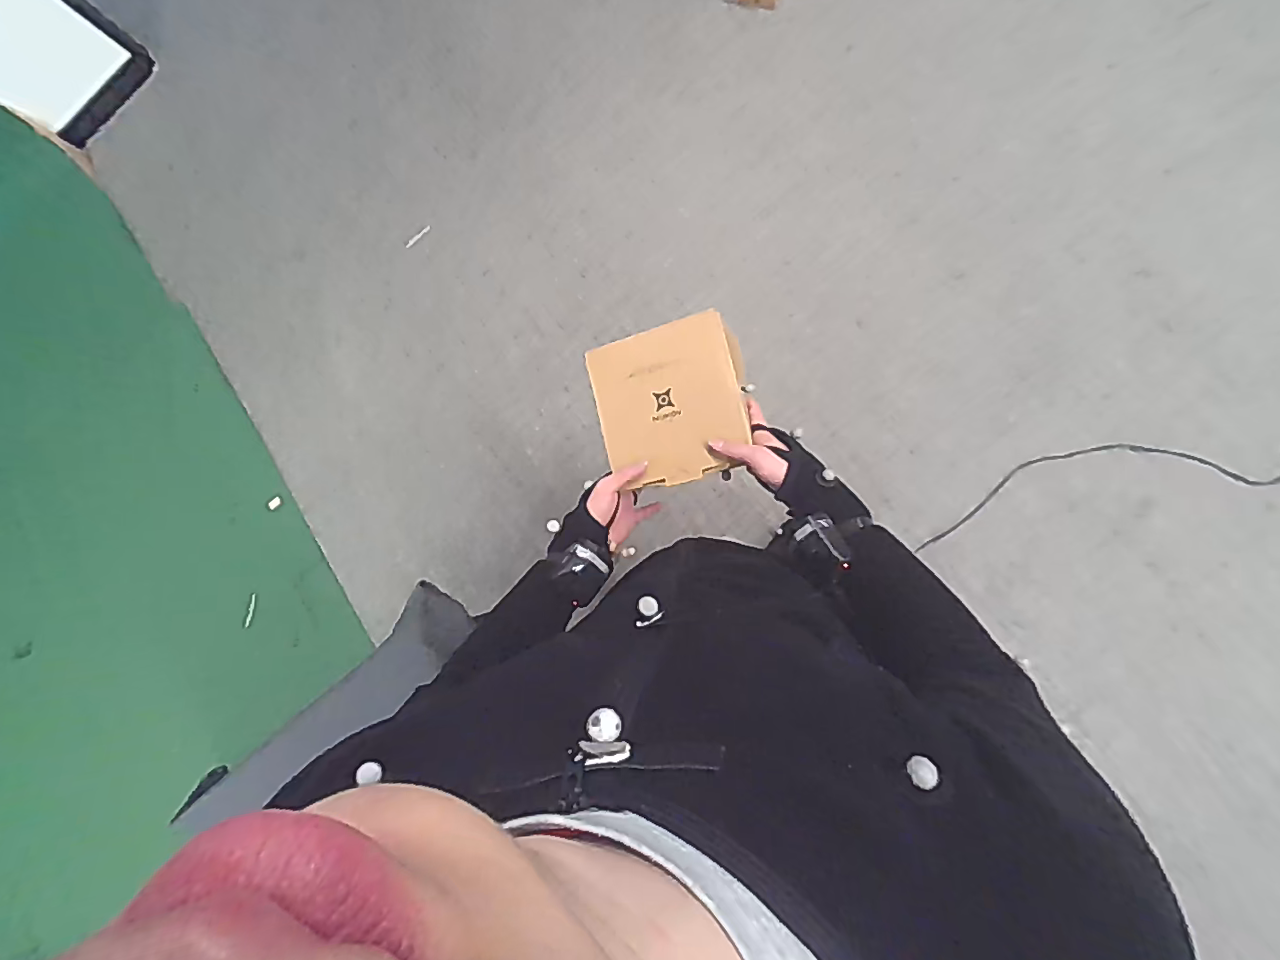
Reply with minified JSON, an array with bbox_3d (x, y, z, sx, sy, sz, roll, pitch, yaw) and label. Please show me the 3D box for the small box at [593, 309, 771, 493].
[{"bbox_3d":[0.064,-0.092,0.698,0.168,0.176,0.179,-16,87,18],"label":"small box"}]
